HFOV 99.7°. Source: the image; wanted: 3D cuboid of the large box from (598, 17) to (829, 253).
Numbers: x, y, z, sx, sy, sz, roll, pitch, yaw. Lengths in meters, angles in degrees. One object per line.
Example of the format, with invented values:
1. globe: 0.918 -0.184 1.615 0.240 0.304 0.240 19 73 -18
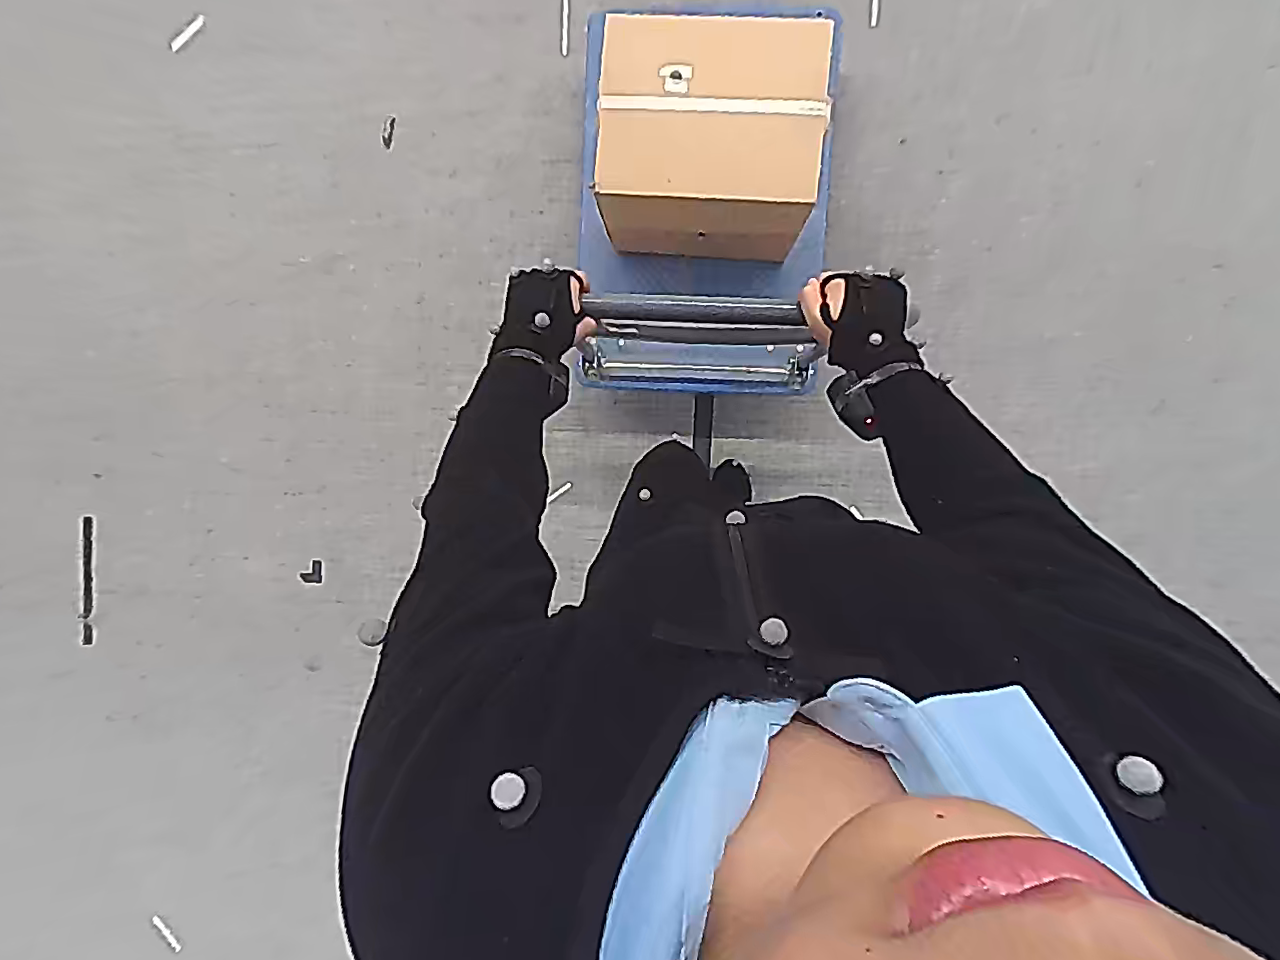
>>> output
1. large box: 0.143 -0.684 1.124 0.408 0.320 0.320 5 93 5
